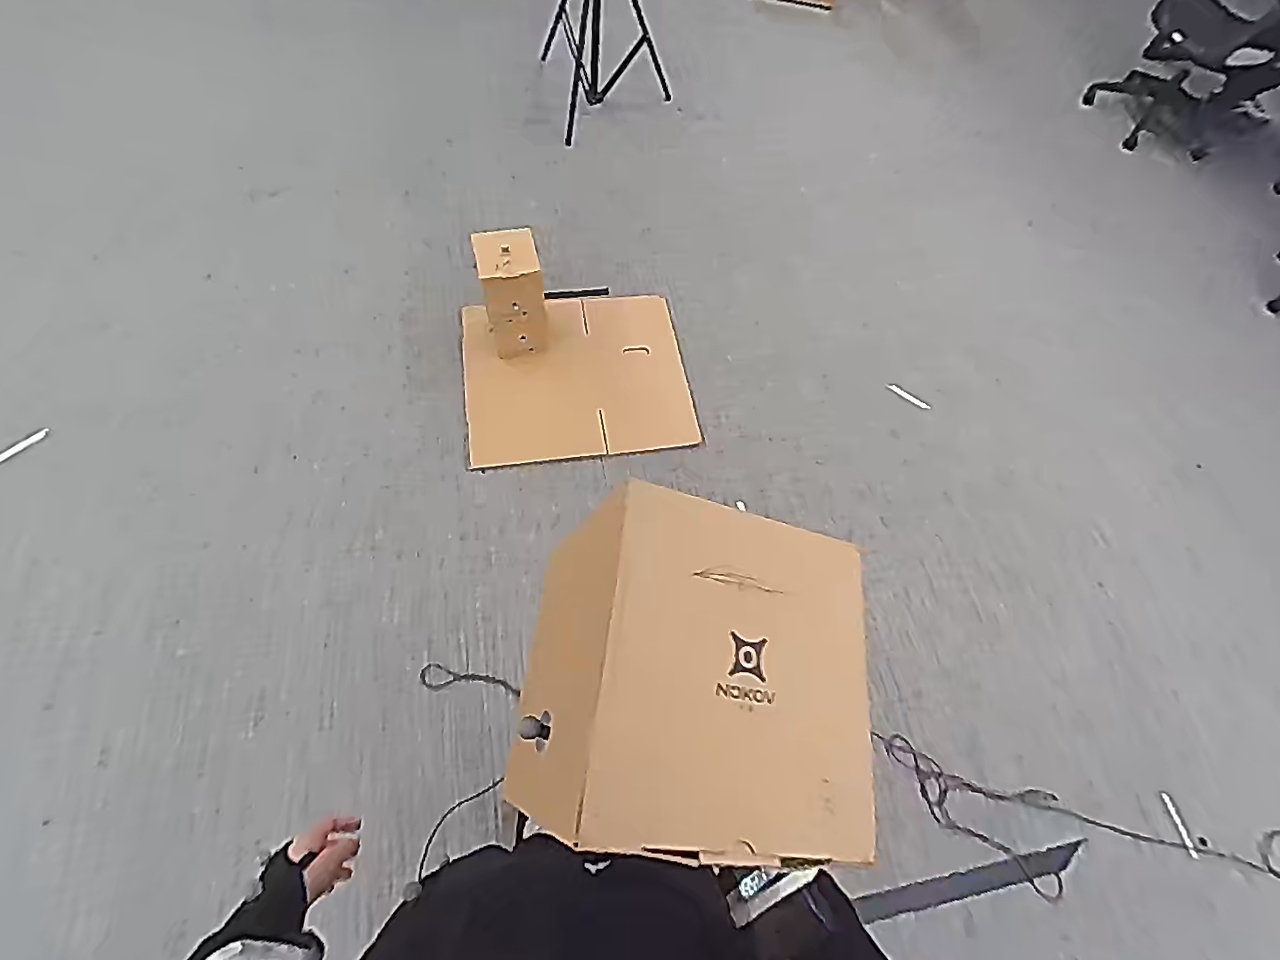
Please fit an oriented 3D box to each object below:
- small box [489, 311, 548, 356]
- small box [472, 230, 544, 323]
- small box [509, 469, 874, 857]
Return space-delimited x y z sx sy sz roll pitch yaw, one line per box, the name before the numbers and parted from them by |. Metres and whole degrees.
small box | -0.387 -0.506 1.692 0.168 0.176 0.179 -14 67 -13
small box | -0.374 -0.579 1.545 0.168 0.176 0.179 -12 66 -11
small box | 0.021 0.121 0.354 0.168 0.176 0.179 17 61 -19
